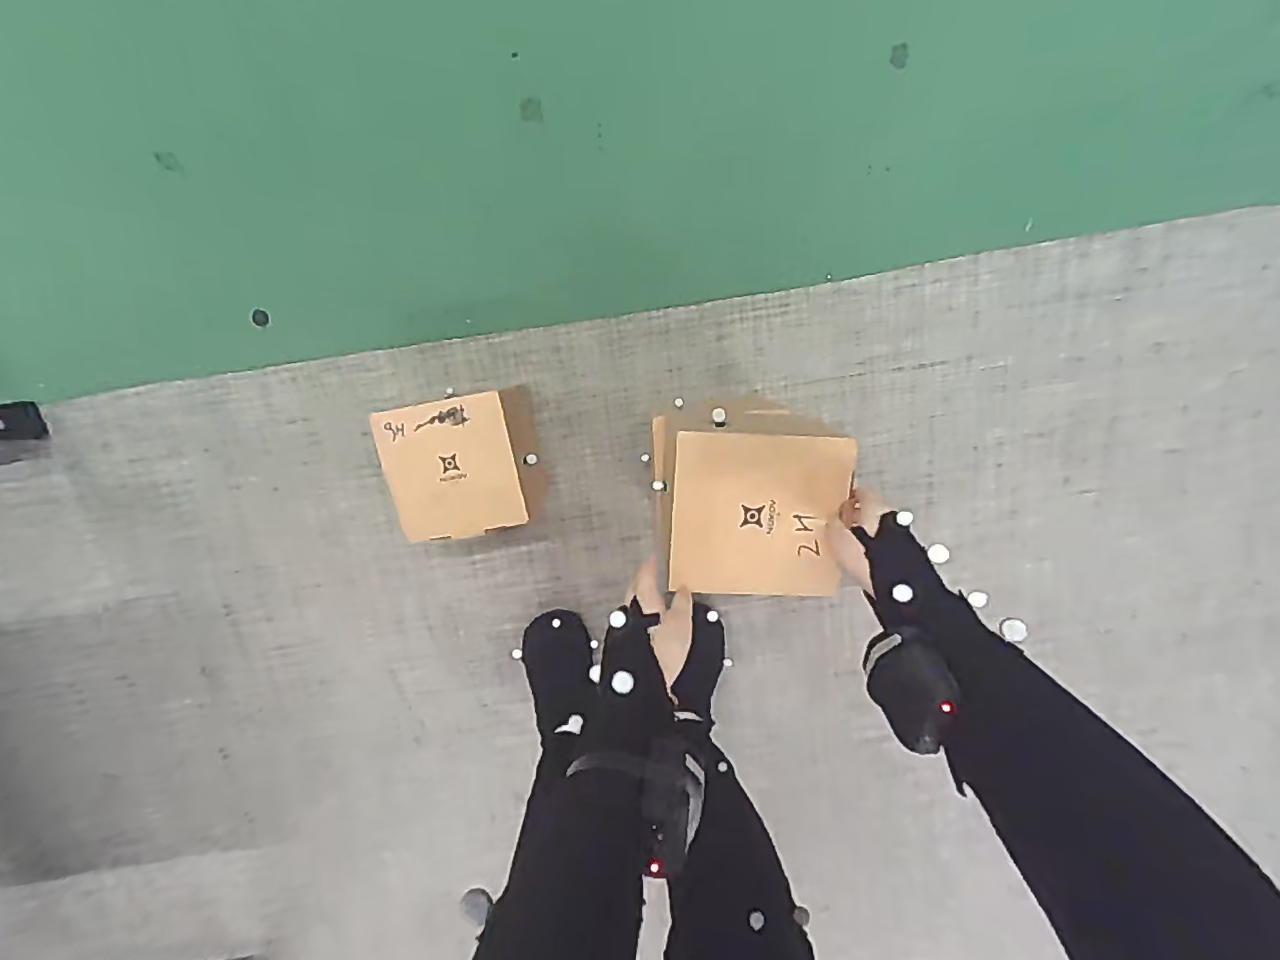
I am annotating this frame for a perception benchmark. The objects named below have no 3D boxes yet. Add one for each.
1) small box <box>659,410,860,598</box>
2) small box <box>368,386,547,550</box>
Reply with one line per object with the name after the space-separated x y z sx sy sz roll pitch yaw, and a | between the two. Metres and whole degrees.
0.114 0.016 0.595 0.179 0.176 0.168 2 104 -2 | small box
-0.235 -0.025 0.749 0.168 0.176 0.179 -11 103 2 | small box
